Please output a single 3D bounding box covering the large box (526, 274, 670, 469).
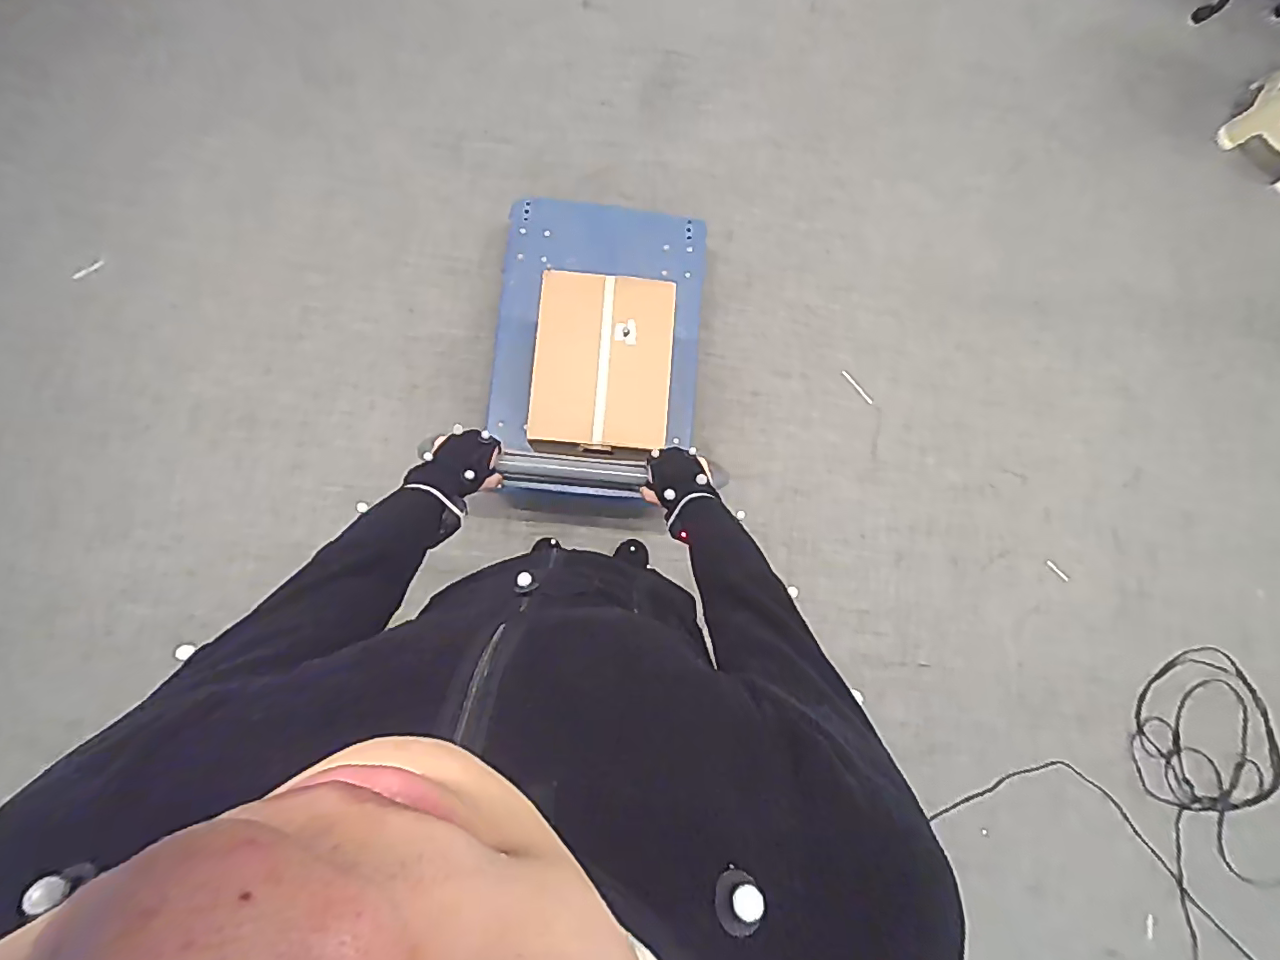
[{"bbox_3d":[-0.101,-0.252,1.381,0.320,0.320,0.408,4,81,-5],"label":"large box"}]
